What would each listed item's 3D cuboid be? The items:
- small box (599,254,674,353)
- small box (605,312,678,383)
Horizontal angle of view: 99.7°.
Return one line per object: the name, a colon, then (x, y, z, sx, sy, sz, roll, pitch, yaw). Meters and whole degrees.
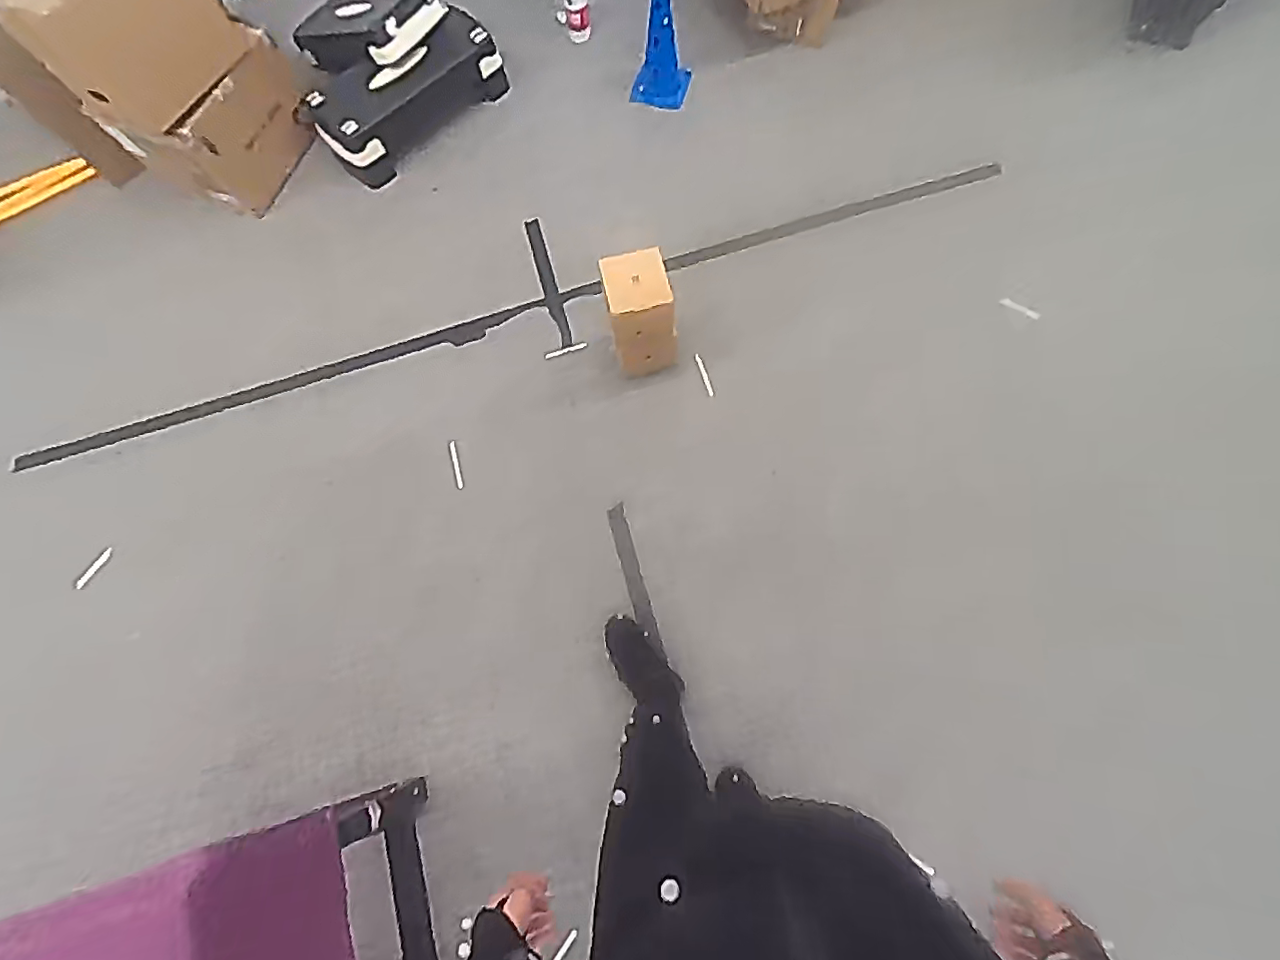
small box: (-0.010, -0.478, 1.478, 0.168, 0.176, 0.179, -14, 74, -2)
small box: (0.005, -0.420, 1.630, 0.179, 0.176, 0.168, -18, 73, -3)
